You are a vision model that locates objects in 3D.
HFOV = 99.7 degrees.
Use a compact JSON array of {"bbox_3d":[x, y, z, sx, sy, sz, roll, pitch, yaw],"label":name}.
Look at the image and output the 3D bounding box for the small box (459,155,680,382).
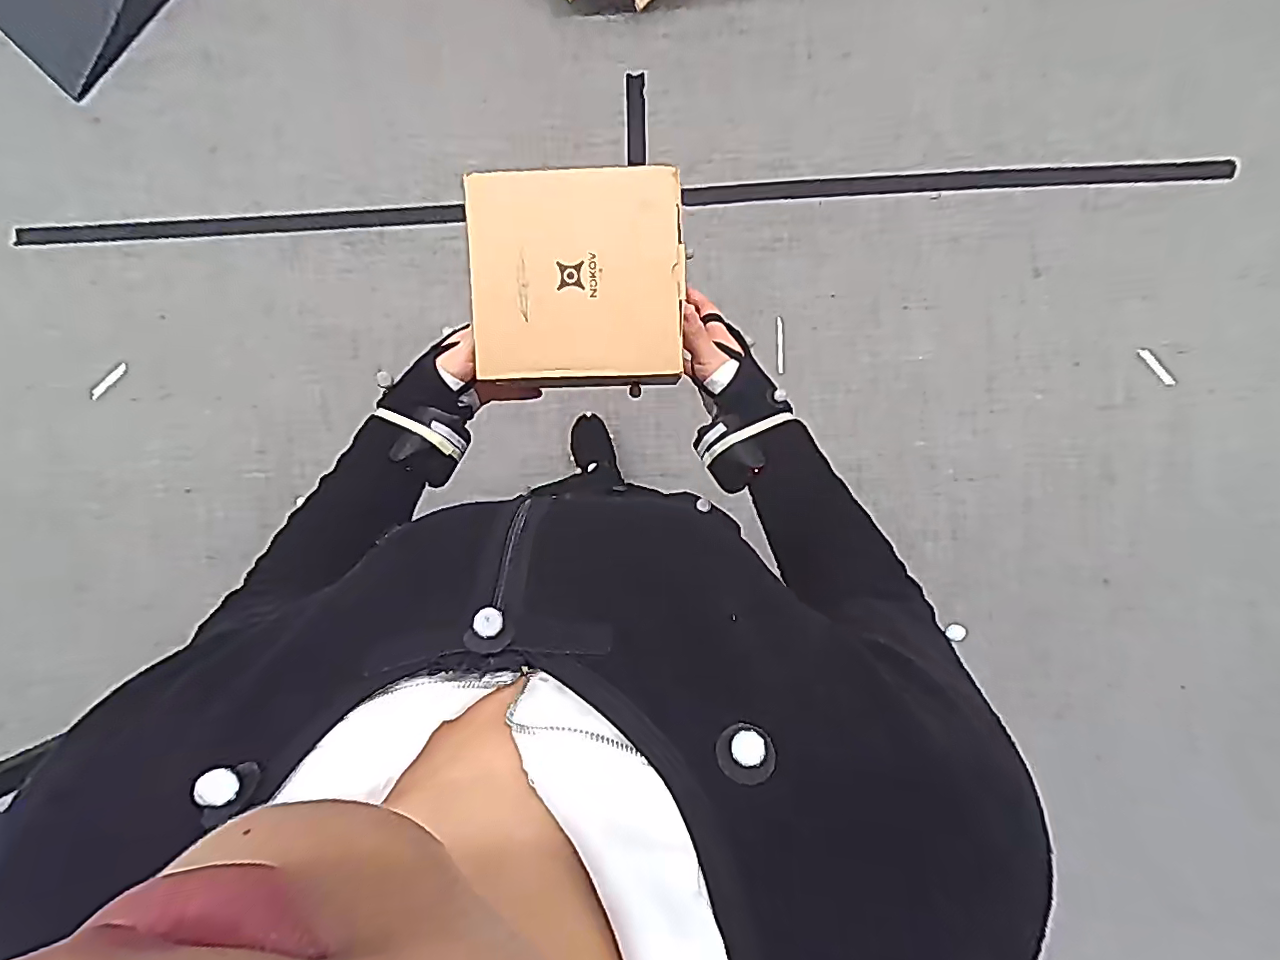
[{"bbox_3d":[-0.053,-0.184,0.518,0.179,0.176,0.168,-2,96,4],"label":"small box"}]
